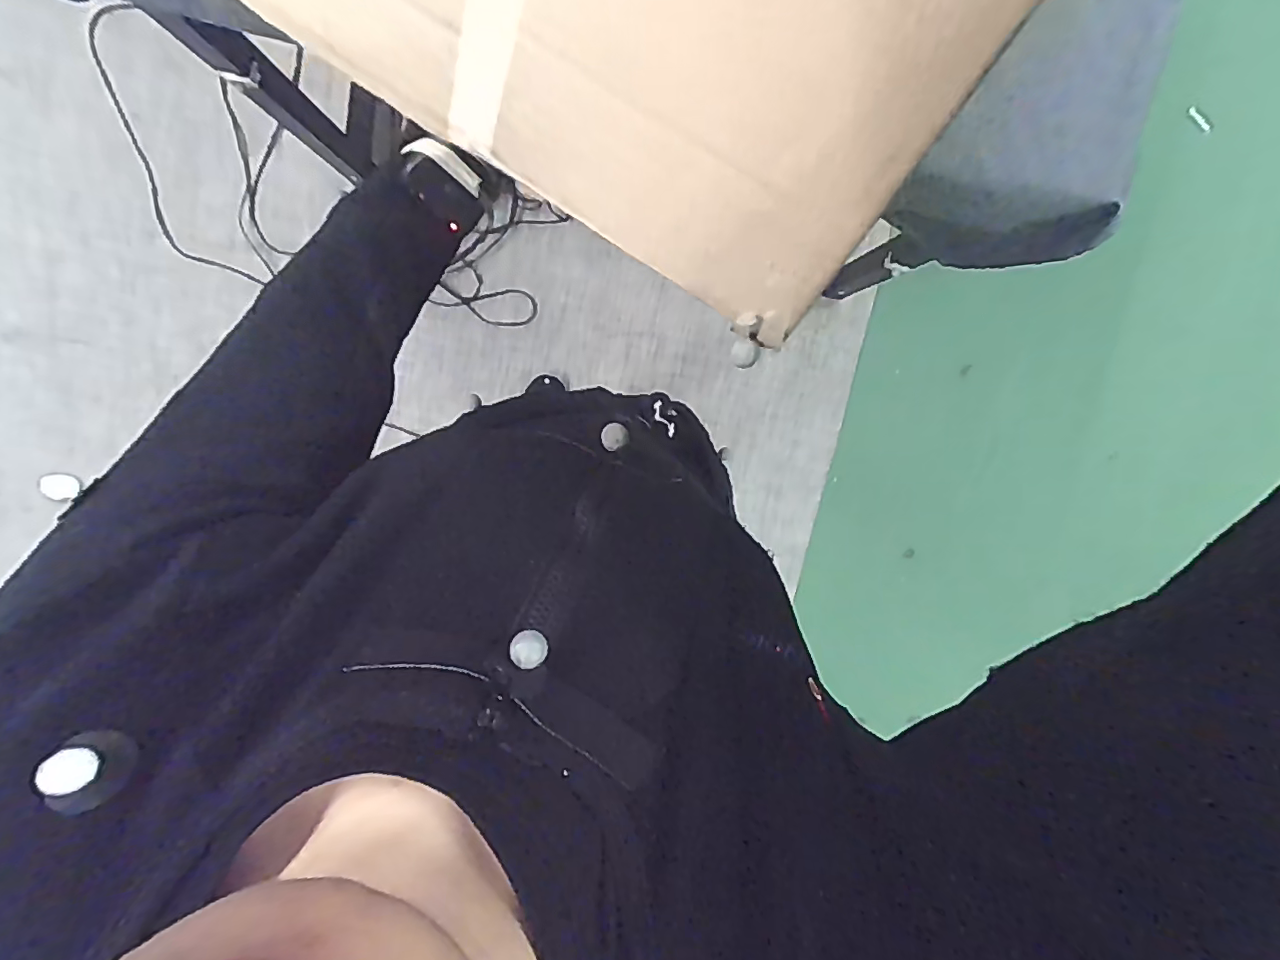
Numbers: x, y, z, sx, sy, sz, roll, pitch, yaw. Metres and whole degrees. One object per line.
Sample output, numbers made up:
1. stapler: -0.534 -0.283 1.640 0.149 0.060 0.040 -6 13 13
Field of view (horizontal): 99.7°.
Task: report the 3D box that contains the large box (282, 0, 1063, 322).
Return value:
1. large box: 0.080 -0.362 0.227 0.320 0.320 0.408 33 133 0
